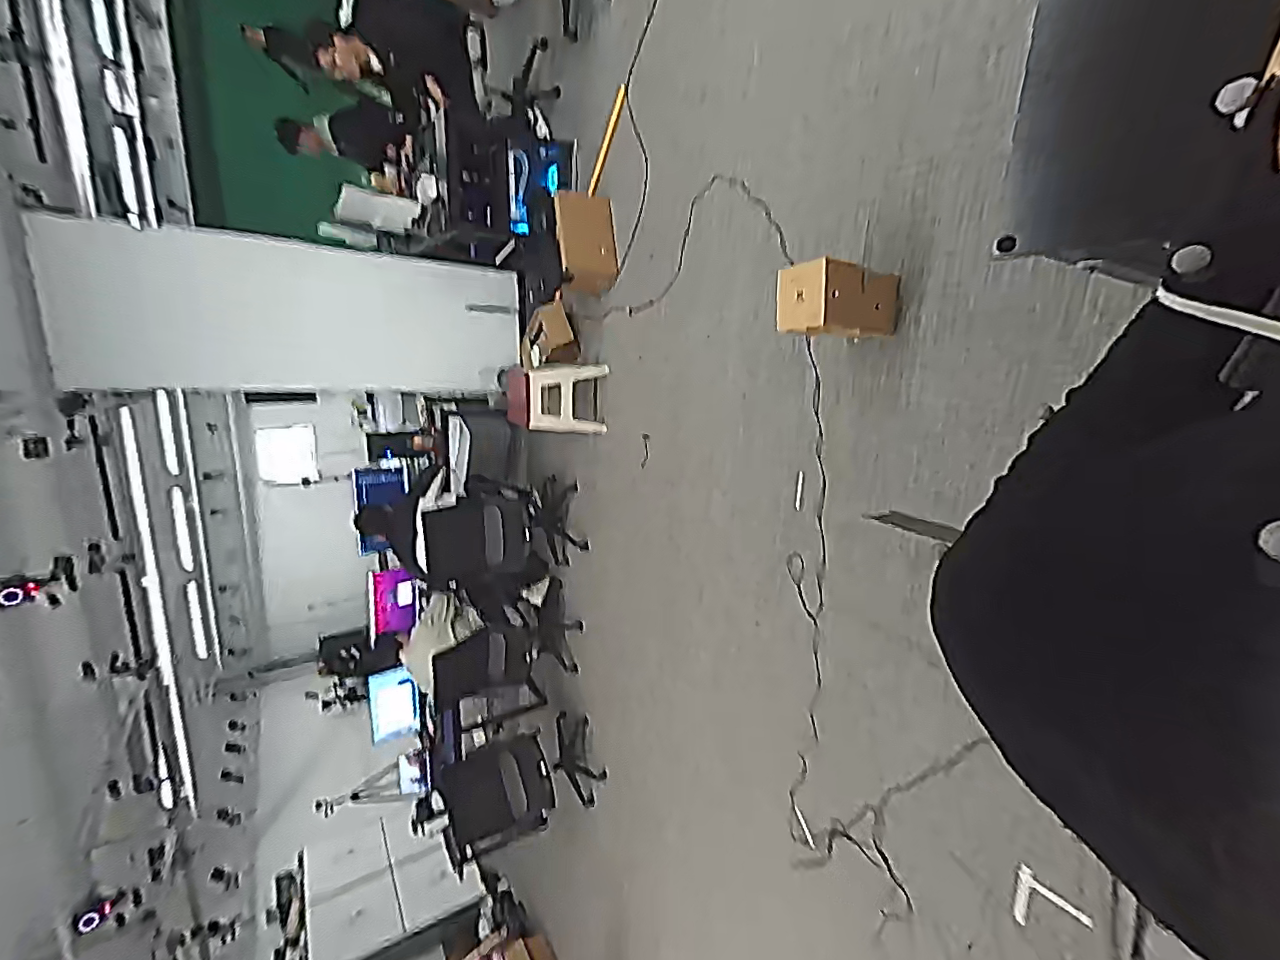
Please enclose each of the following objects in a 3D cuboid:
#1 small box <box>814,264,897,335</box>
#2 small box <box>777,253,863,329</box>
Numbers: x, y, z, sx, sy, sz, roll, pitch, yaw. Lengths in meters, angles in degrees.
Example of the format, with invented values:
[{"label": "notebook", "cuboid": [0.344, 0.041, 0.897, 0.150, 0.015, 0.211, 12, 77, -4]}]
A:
[{"label": "small box", "cuboid": [0.643, -0.532, 1.612, 0.168, 0.176, 0.179, 16, 109, 55]}, {"label": "small box", "cuboid": [0.507, -0.523, 1.523, 0.168, 0.176, 0.179, 11, 103, 55]}]
